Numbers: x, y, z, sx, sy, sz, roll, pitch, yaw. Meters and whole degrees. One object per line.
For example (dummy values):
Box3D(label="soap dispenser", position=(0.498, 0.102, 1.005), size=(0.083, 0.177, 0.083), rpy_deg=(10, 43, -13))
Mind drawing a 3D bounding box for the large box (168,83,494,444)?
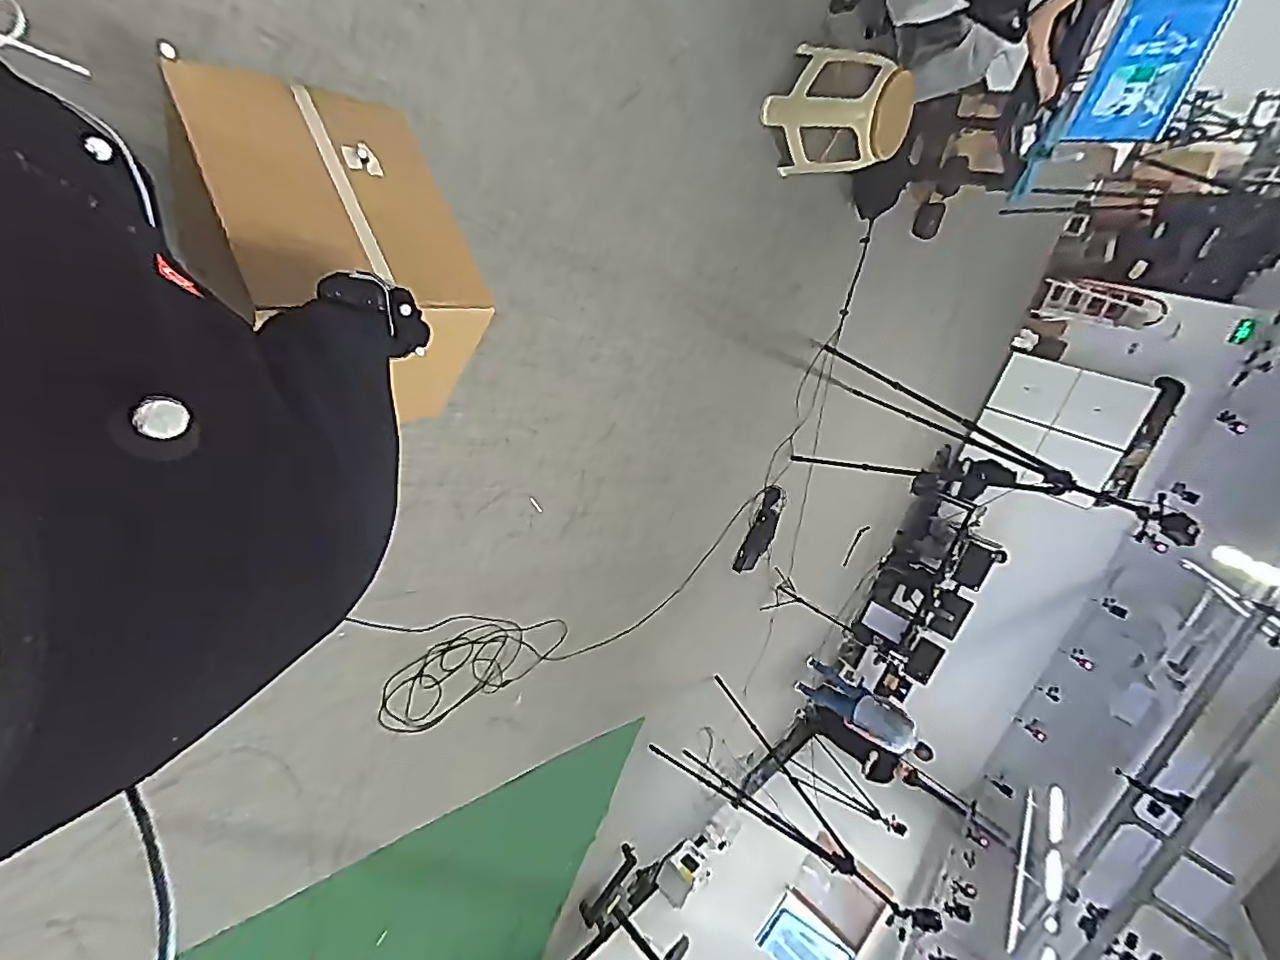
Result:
Box3D(label="large box", position=(-0.500, -0.323, 0.882), size=(0.320, 0.408, 0.320), rpy_deg=(-17, 163, -42))
